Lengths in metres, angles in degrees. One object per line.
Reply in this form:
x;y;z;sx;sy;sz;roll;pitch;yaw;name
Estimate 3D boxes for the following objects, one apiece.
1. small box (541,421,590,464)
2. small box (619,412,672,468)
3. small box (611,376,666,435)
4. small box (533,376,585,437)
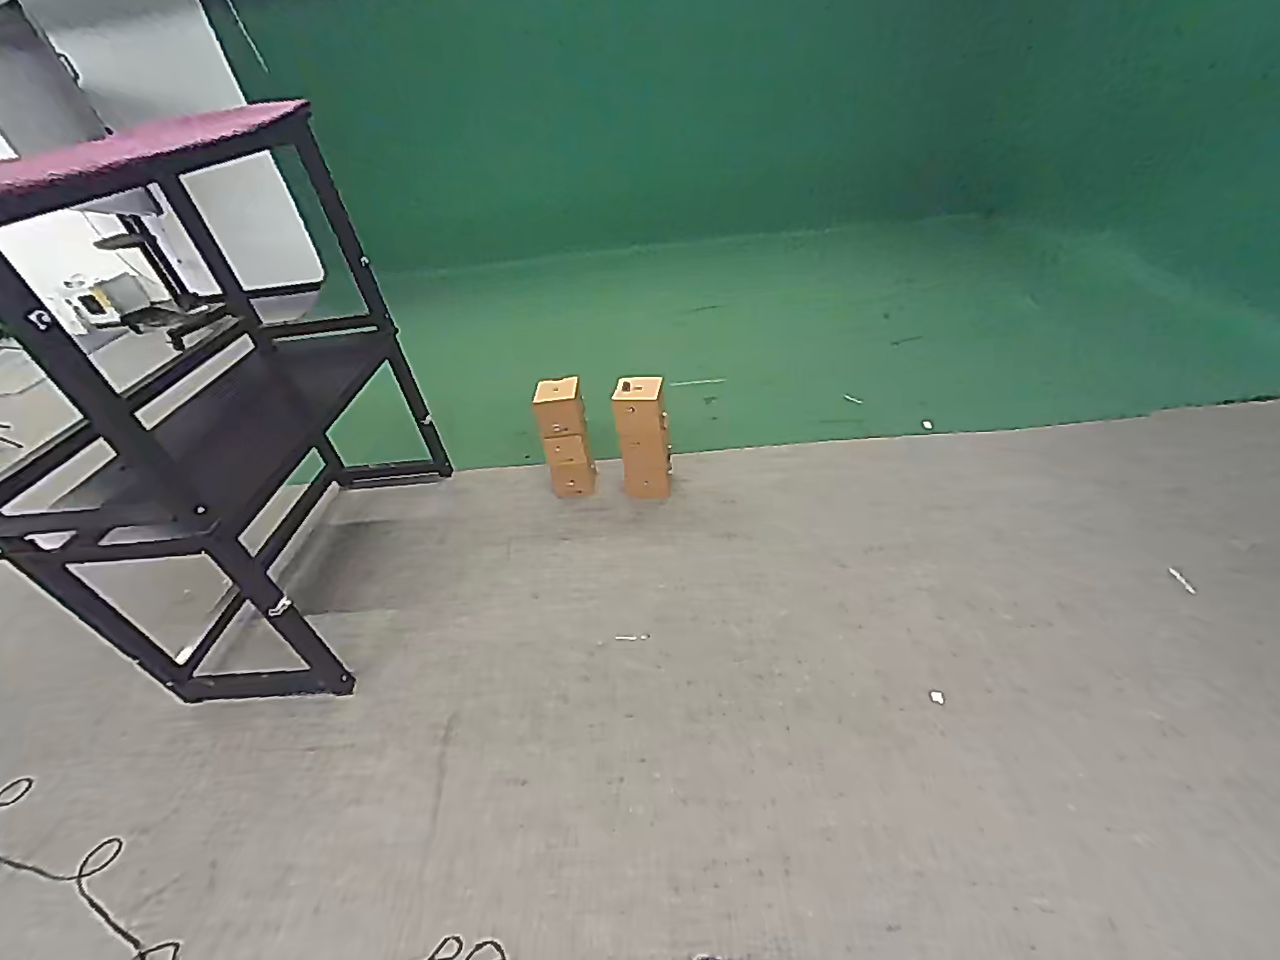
-0.311;-0.178;2.296;0.168;0.176;0.179;-5;38;5;small box
0.025;-0.164;2.210;0.179;0.176;0.168;3;41;14;small box
-0.002;-0.289;2.107;0.179;0.176;0.168;1;41;12;small box
-0.320;-0.295;2.182;0.168;0.176;0.179;-8;39;4;small box
